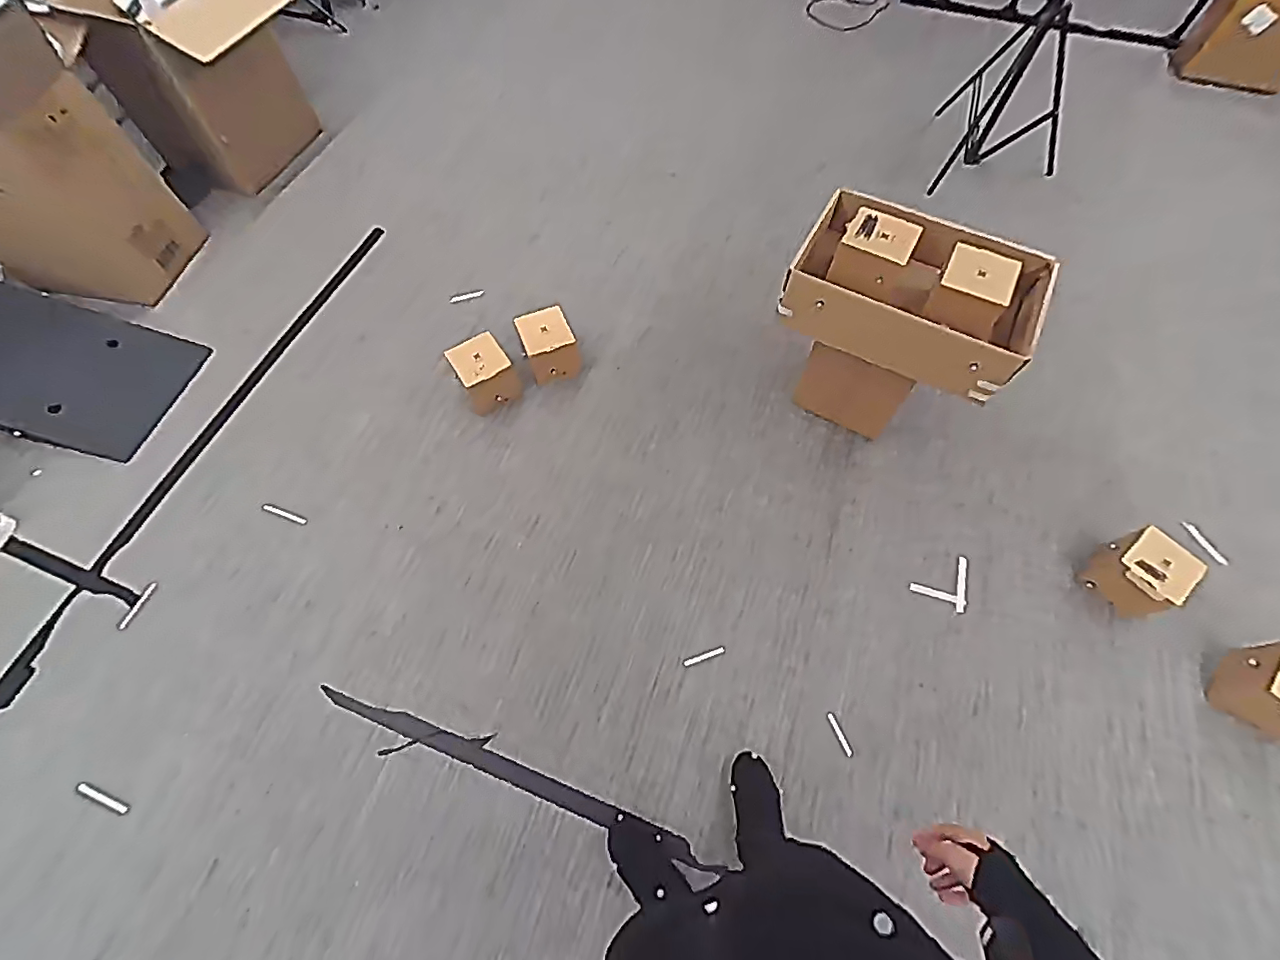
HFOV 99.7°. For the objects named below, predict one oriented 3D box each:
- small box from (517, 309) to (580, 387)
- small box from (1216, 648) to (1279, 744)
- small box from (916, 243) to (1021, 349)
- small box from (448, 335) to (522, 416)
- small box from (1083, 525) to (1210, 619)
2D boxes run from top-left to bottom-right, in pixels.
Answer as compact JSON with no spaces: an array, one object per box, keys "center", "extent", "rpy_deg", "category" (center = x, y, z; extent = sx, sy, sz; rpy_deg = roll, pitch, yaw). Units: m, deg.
[{"center":[-0.317,-0.459,1.896],"extent":[0.168,0.176,0.179],"rpy_deg":[-21,66,-11],"category":"small box"},{"center":[1.648,0.547,1.377],"extent":[0.168,0.176,0.179],"rpy_deg":[41,69,19],"category":"small box"},{"center":[0.860,-0.483,1.430],"extent":[0.168,0.176,0.179],"rpy_deg":[26,63,14],"category":"small box"},{"center":[-0.522,-0.351,1.839],"extent":[0.168,0.176,0.179],"rpy_deg":[-31,68,-14],"category":"small box"},{"center":[1.410,0.265,1.521],"extent":[0.179,0.176,0.168],"rpy_deg":[-35,68,-16],"category":"small box"}]
